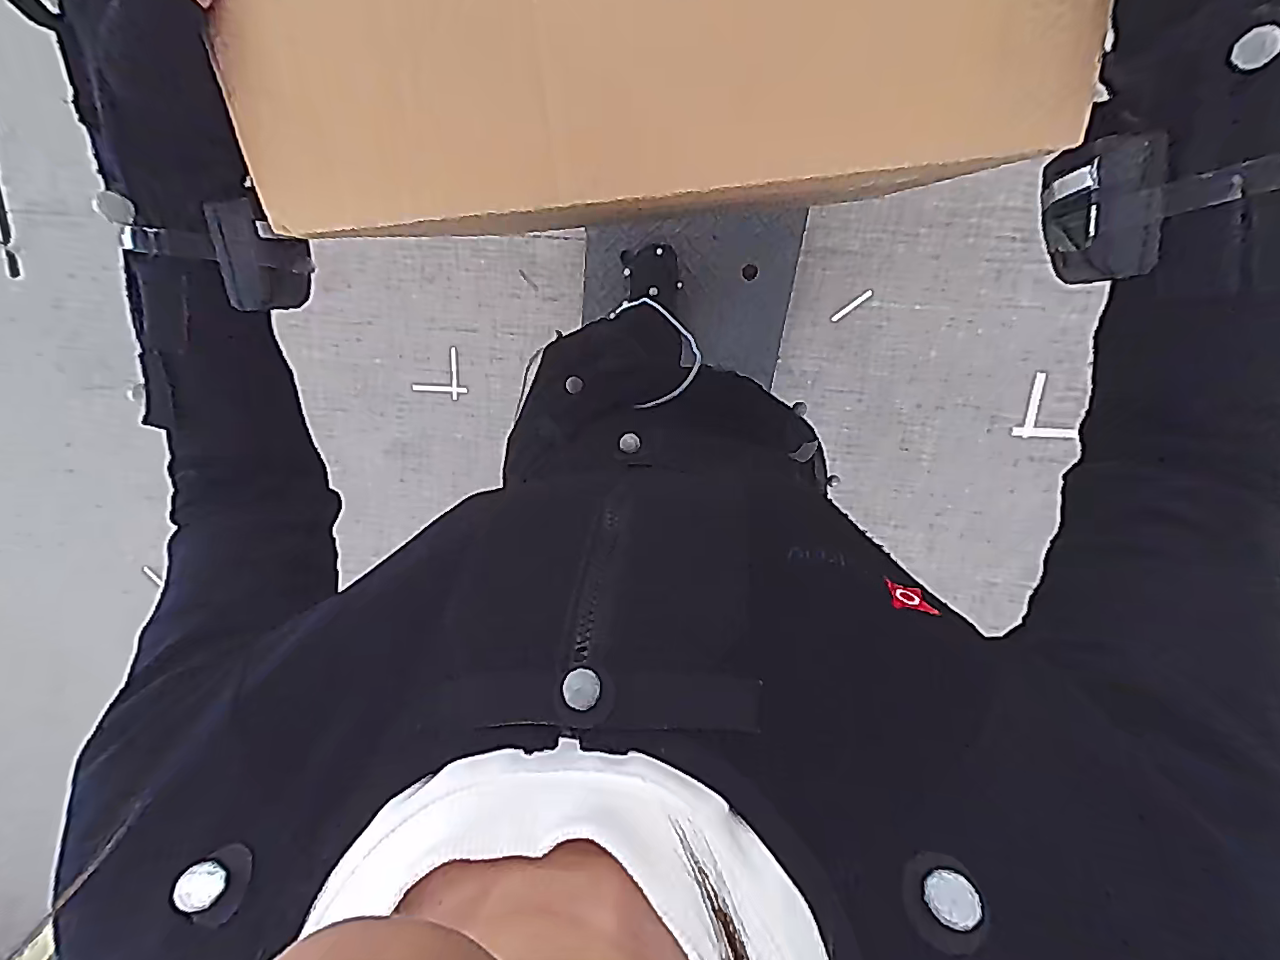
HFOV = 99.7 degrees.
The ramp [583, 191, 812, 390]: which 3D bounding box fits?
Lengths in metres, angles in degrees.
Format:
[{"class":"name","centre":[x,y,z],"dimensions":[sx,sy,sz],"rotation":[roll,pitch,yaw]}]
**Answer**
[{"class":"ramp","centre":[0.136,-0.694,1.158],"dimensions":[0.509,0.206,0.991],"rotation":[6,108,3]}]

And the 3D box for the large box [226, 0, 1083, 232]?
[{"class":"large box","centre":[0.001,-0.356,0.356],"dimensions":[0.408,0.320,0.320],"rotation":[-2,114,8]}]
